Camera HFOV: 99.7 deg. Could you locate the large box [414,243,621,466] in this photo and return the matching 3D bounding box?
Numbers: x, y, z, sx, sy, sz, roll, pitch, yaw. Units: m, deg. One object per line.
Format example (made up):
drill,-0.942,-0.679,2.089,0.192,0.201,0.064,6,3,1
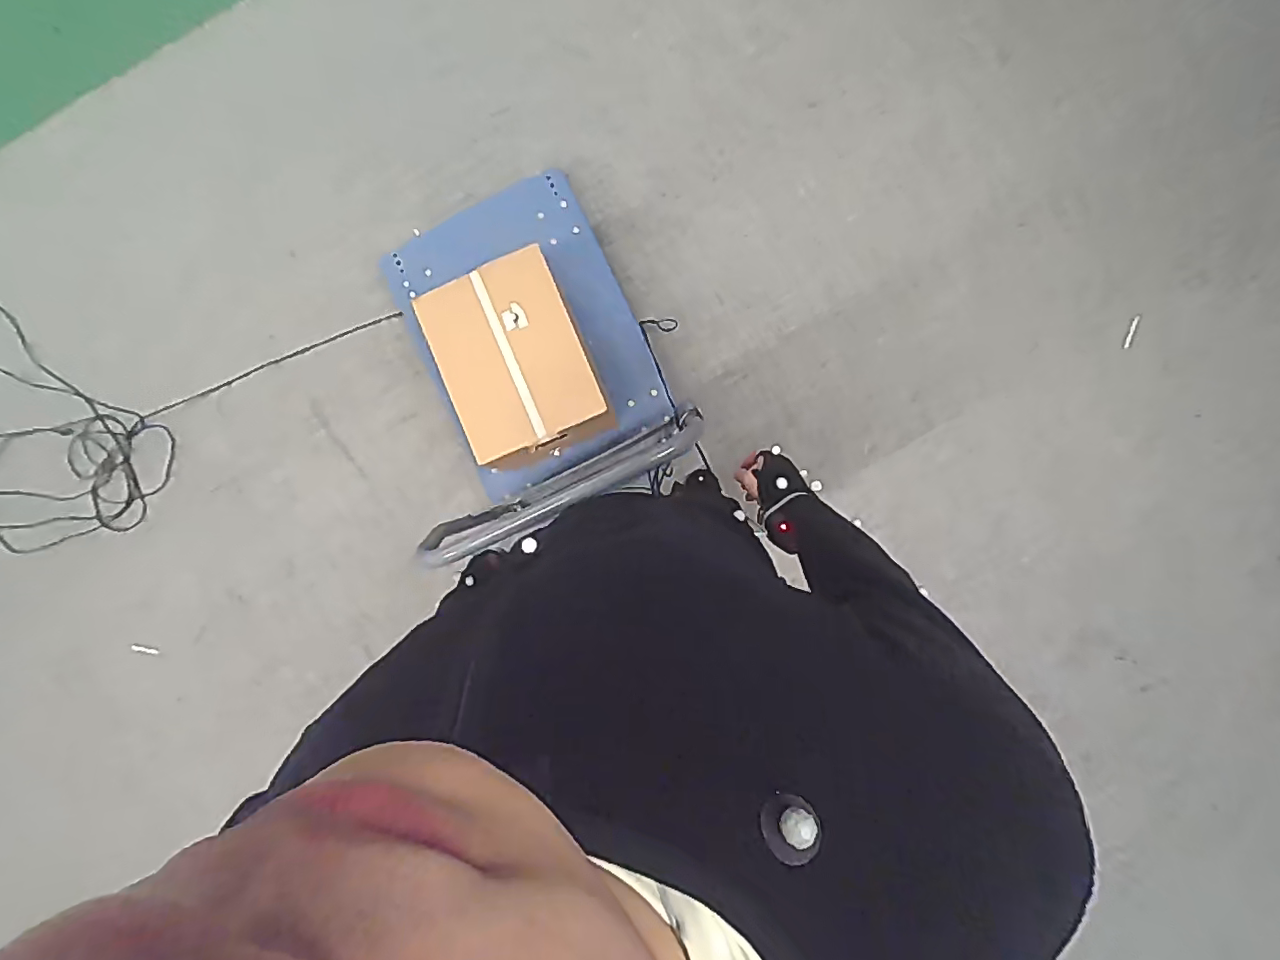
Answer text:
large box,-0.273,-0.276,1.322,0.320,0.320,0.408,-23,88,2
